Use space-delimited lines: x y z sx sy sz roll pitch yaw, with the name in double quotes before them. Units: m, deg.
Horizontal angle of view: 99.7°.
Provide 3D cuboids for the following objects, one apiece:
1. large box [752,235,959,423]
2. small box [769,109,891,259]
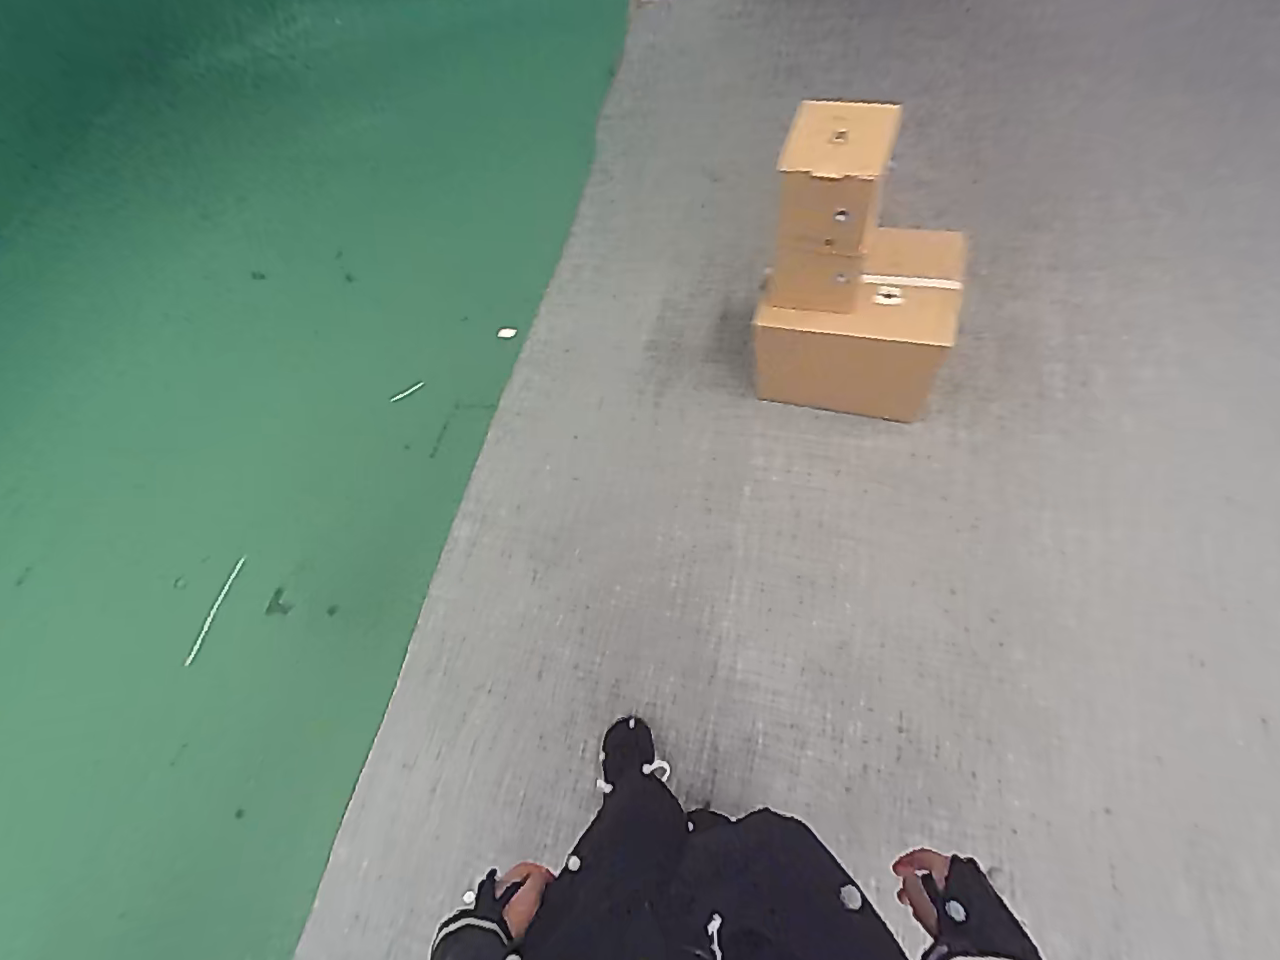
"large box" 0.500 -0.369 1.326 0.408 0.320 0.320 12 70 16
"small box" 0.336 -0.531 0.981 0.168 0.176 0.179 15 69 16
